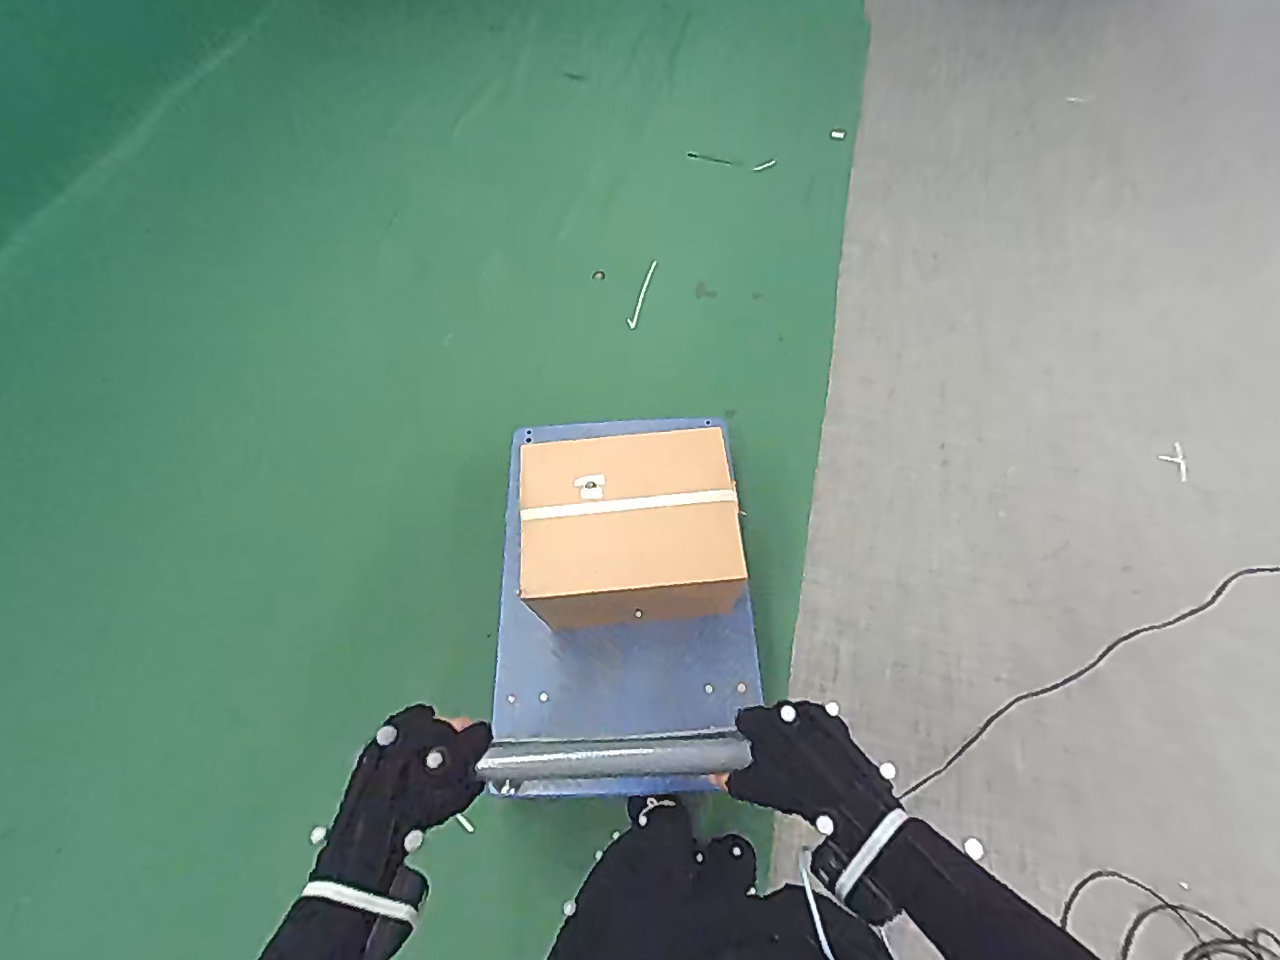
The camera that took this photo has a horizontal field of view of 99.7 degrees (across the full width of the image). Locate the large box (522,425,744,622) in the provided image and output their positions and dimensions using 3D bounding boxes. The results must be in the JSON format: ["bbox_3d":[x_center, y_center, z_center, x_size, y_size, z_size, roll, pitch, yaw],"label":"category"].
[{"bbox_3d":[-0.017,0.109,1.166,0.408,0.320,0.320,-6,64,0],"label":"large box"}]
